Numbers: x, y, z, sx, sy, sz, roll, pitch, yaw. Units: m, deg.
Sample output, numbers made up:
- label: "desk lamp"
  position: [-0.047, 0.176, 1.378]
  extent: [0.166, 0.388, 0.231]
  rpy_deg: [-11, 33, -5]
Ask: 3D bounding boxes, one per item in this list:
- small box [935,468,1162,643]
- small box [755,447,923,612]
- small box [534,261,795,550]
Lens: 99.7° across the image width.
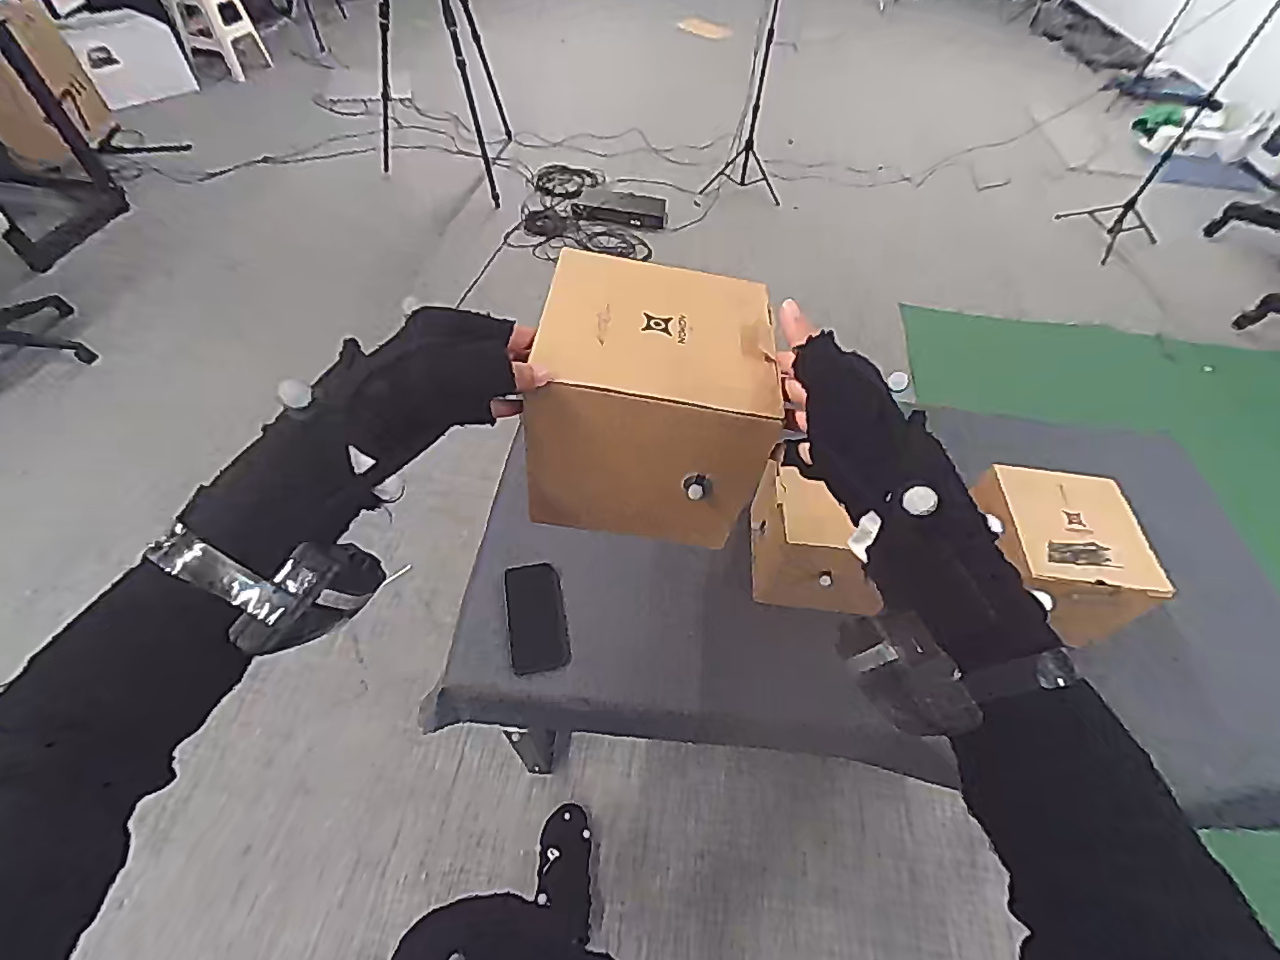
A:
- label: "small box"
  position: [0.547, 0.110, 0.758]
  extent: [0.168, 0.176, 0.179]
  rpy_deg: [8, 51, 2]
- label: "small box"
  position: [0.263, 0.074, 0.767]
  extent: [0.179, 0.176, 0.168]
  rpy_deg: [6, 52, 1]
- label: "small box"
  position: [0.011, -0.056, 0.462]
  extent: [0.179, 0.176, 0.168]
  rpy_deg: [7, 50, -4]
